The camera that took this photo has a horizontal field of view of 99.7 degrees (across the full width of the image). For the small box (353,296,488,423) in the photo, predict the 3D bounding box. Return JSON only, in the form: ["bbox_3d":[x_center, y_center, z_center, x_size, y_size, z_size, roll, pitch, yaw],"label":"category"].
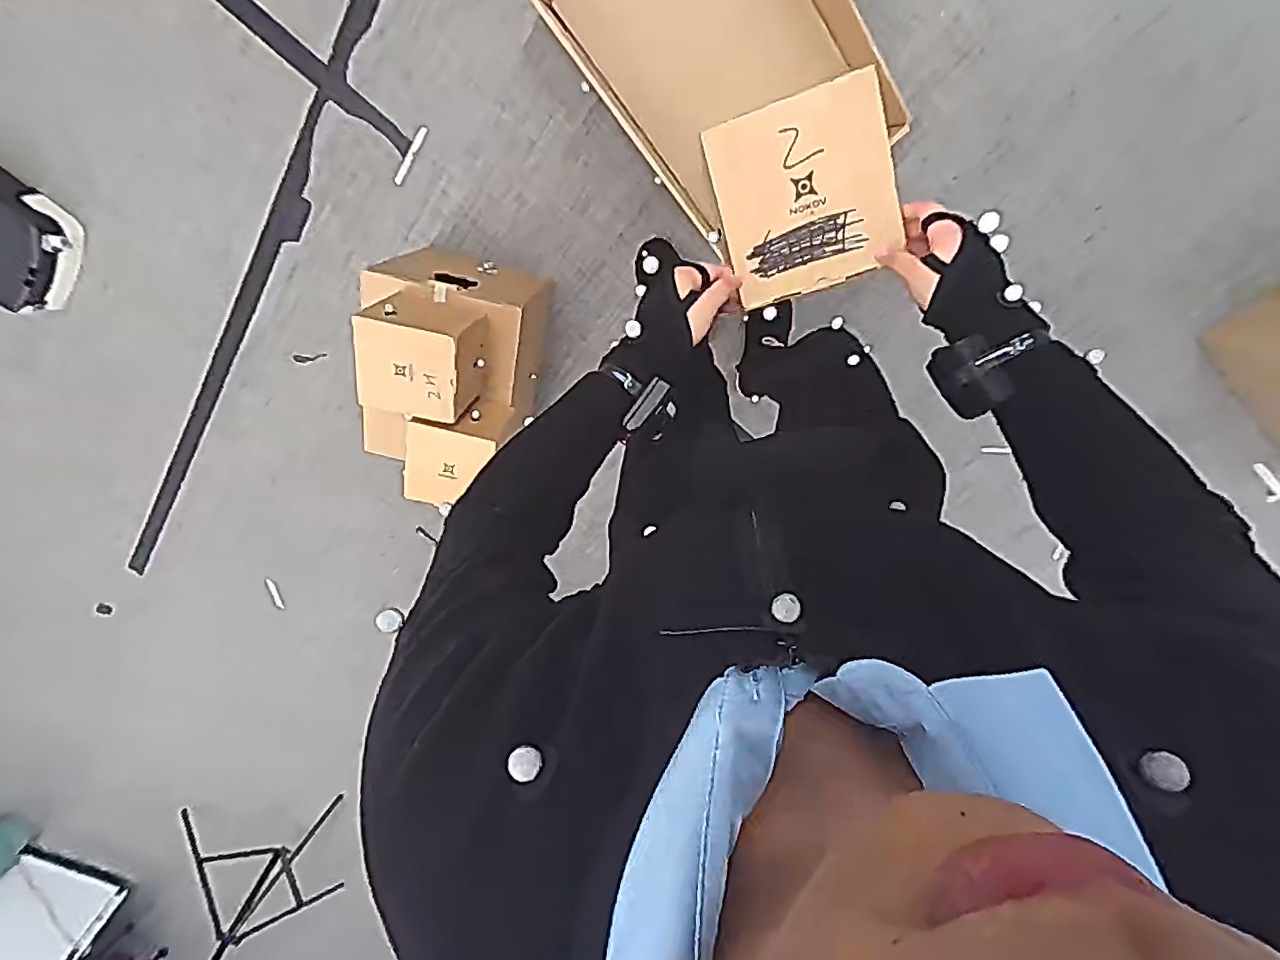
[{"bbox_3d":[-0.395,-0.228,0.992,0.179,0.176,0.168,11,122,-4],"label":"small box"}]

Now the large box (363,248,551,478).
[{"bbox_3d":[-0.404,-0.276,1.250,0.320,0.320,0.408,13,121,-3],"label":"large box"}]
